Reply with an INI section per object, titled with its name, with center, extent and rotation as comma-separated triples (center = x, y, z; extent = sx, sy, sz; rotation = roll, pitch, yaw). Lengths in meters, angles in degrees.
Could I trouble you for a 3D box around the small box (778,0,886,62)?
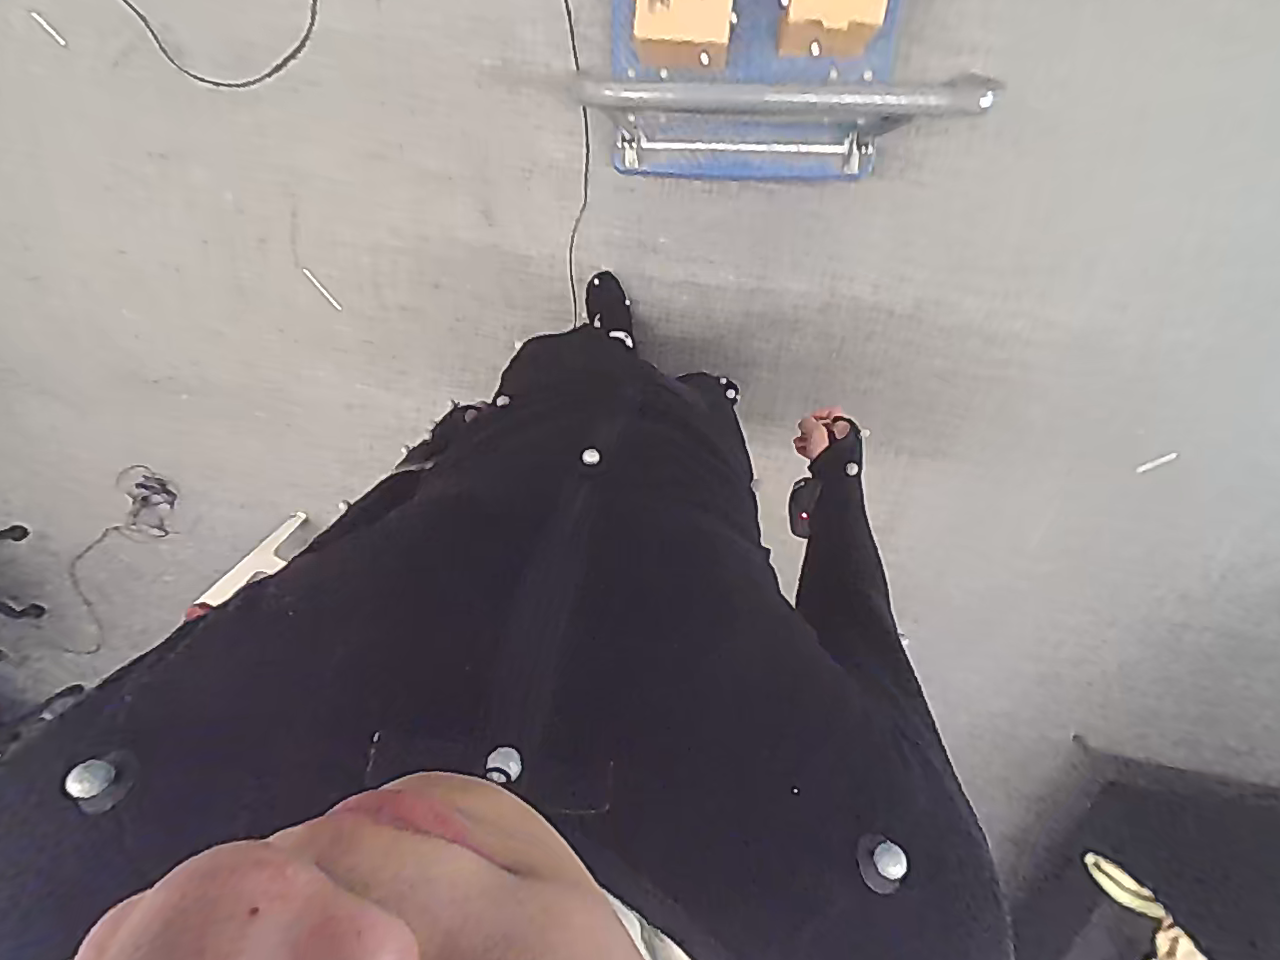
[small box]
center = 0.358, -0.911, 0.998
extent = 0.168, 0.176, 0.179
rotation = 6, 112, 4
